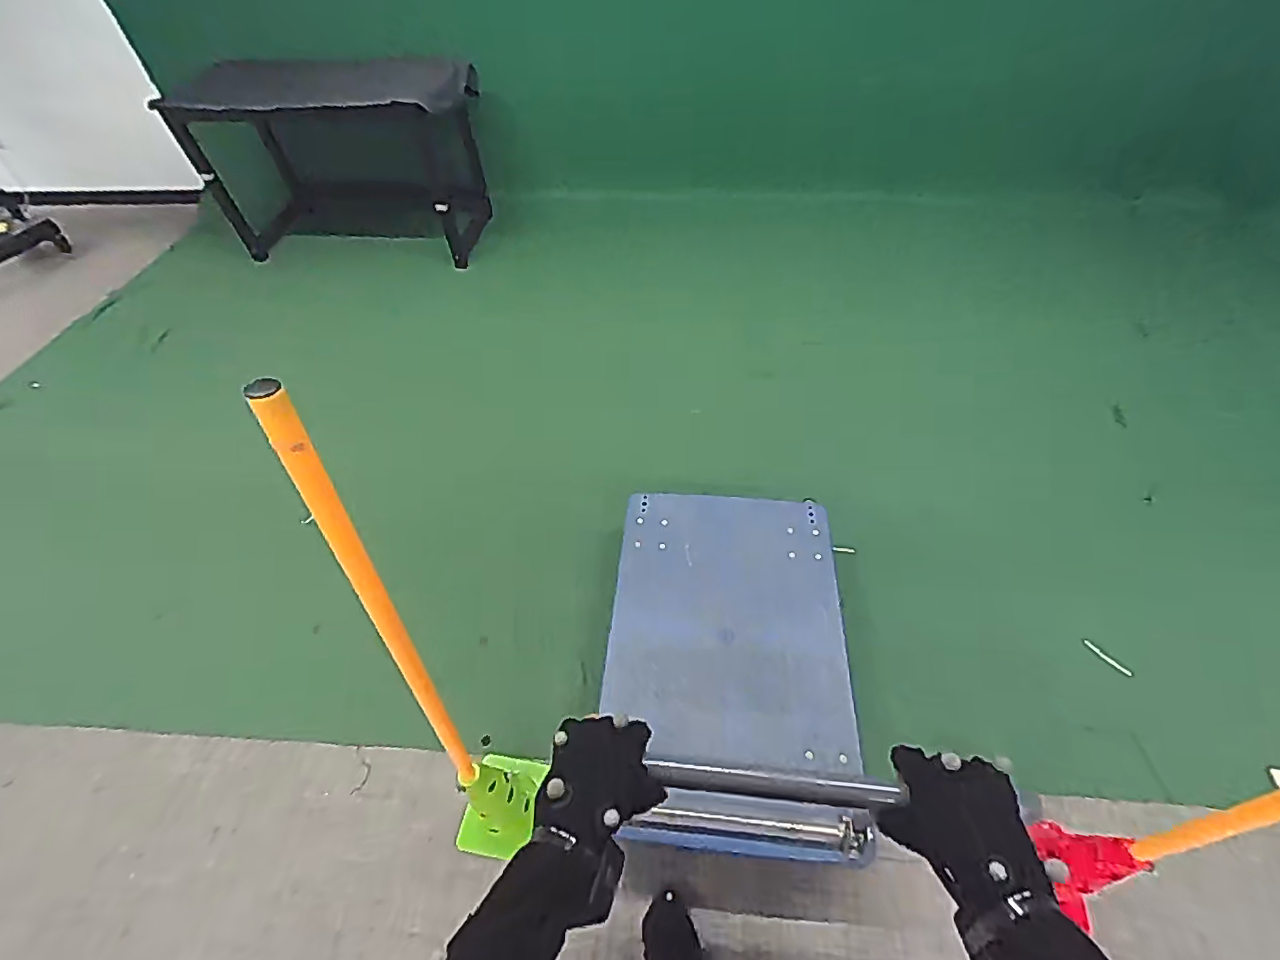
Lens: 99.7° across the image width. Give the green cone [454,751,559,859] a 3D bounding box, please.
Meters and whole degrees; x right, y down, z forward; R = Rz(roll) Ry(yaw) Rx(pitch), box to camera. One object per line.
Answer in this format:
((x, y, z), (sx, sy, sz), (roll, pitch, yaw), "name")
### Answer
((-0.312, 0.646, 1.140), (0.202, 0.368, 0.200), (6, 50, 8), "green cone")
